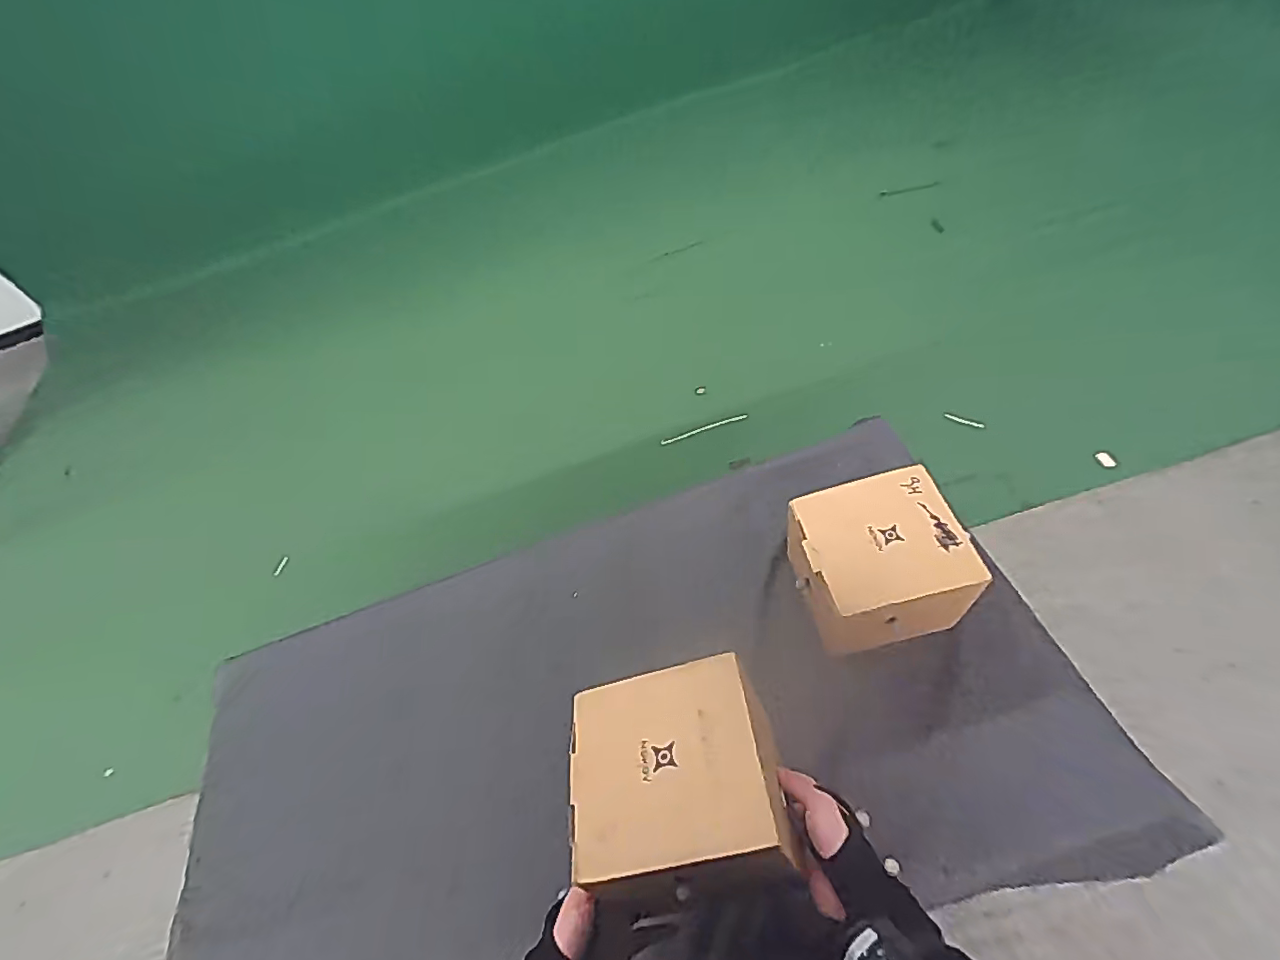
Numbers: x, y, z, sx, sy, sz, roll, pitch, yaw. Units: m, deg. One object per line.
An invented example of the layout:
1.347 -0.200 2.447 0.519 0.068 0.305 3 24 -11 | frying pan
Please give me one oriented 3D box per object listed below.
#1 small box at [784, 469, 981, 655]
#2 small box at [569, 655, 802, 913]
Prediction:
0.302 0.116 0.716 0.179 0.176 0.168 -16 55 4 | small box
0.044 0.305 0.537 0.179 0.176 0.168 -17 42 9 | small box
